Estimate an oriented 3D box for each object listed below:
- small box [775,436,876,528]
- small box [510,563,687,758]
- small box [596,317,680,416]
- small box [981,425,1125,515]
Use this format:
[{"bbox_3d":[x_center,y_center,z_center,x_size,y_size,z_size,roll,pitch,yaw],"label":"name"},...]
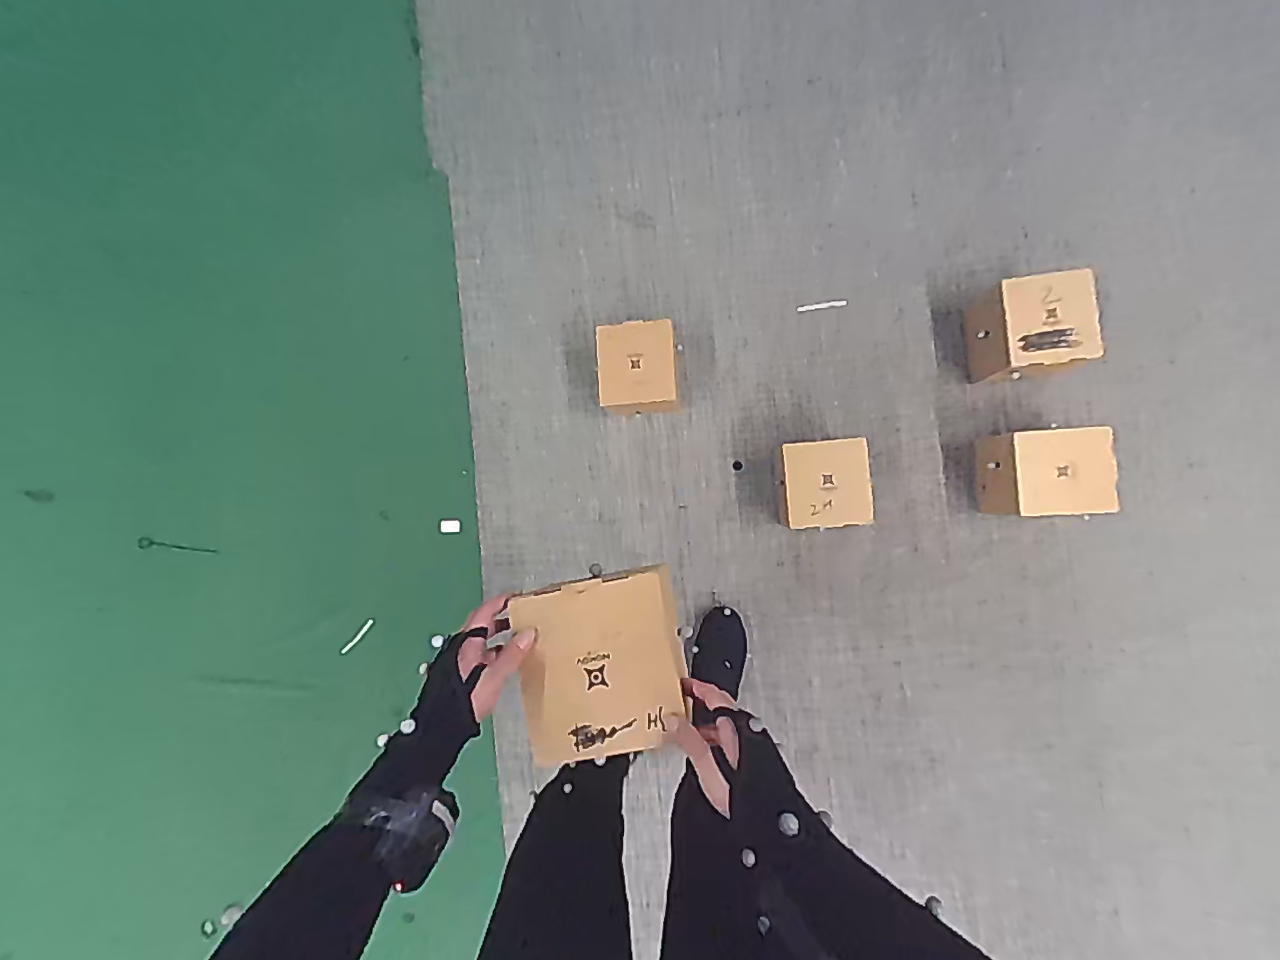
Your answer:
[{"bbox_3d":[0.383,0.009,1.144,0.168,0.176,0.179,-4,87,8],"label":"small box"},{"bbox_3d":[-0.039,0.196,0.632,0.168,0.176,0.179,-10,81,5],"label":"small box"},{"bbox_3d":[0.001,-0.246,1.209,0.168,0.176,0.179,-3,88,8],"label":"small box"},{"bbox_3d":[0.814,-0.014,1.088,0.179,0.176,0.168,-4,87,7],"label":"small box"}]
